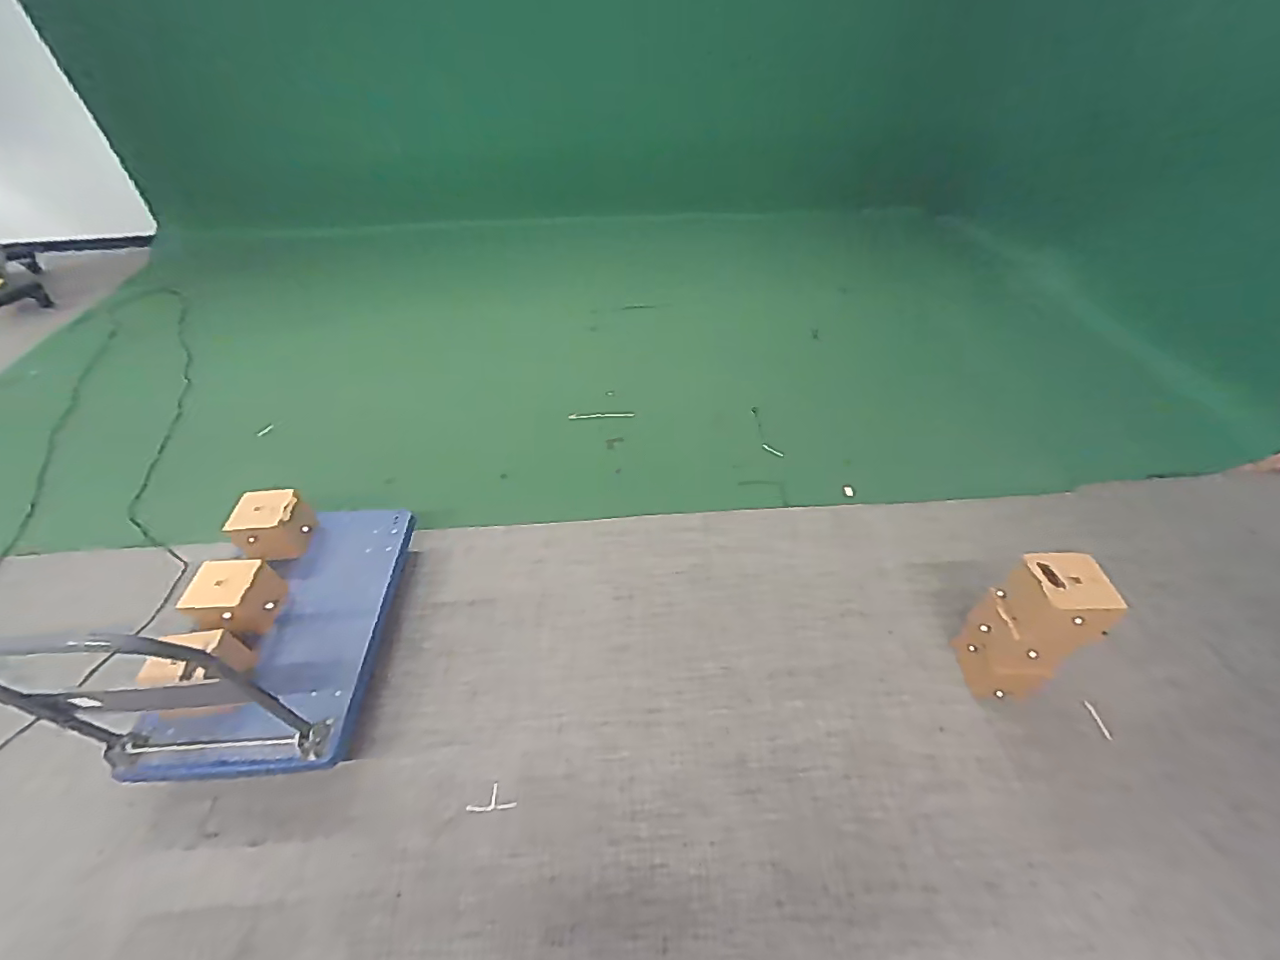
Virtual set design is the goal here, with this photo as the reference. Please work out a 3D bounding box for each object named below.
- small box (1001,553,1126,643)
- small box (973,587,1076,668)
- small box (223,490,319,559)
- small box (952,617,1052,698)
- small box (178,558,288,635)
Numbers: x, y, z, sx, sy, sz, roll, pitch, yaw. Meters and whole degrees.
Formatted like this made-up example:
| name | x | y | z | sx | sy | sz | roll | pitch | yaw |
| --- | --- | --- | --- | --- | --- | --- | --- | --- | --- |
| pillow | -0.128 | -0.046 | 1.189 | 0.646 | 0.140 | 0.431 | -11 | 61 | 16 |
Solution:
| name | x | y | z | sx | sy | sz | roll | pitch | yaw |
| --- | --- | --- | --- | --- | --- | --- | --- | --- | --- |
| small box | 1.070 | 0.305 | 1.391 | 0.179 | 0.176 | 0.168 | 0 | 45 | 2 |
| small box | 1.067 | 0.415 | 1.514 | 0.179 | 0.176 | 0.168 | -1 | 45 | 3 |
| small box | -1.231 | 0.152 | 1.818 | 0.179 | 0.176 | 0.168 | 2 | 49 | 2 |
| small box | 1.076 | 0.533 | 1.627 | 0.168 | 0.176 | 0.179 | 0 | 46 | 3 |
| small box | -1.215 | 0.354 | 1.629 | 0.179 | 0.176 | 0.168 | -2 | 46 | -1 |
